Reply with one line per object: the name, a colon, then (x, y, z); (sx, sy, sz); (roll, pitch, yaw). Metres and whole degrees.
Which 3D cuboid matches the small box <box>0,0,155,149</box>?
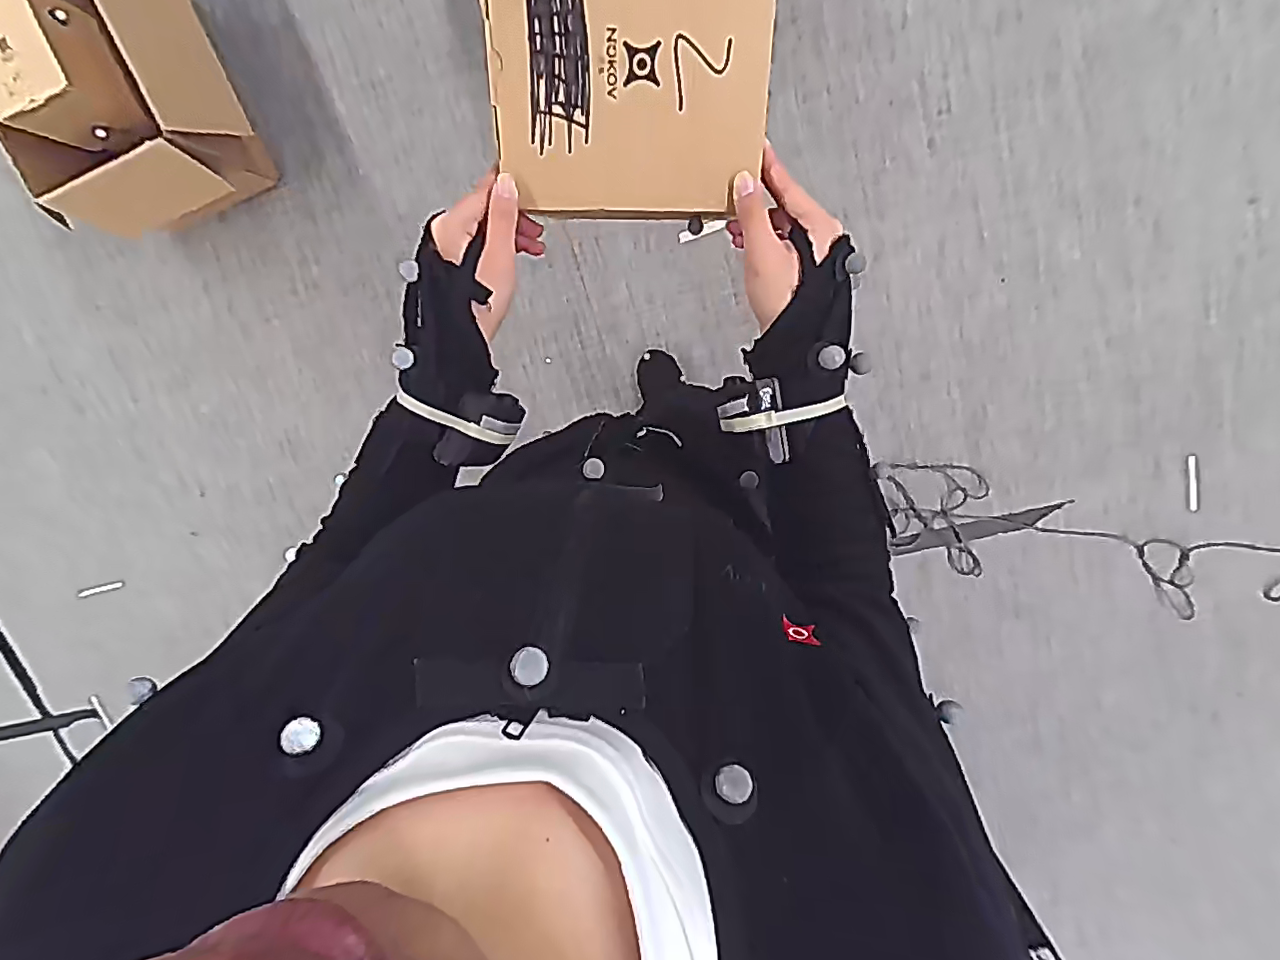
small box: (-1.078, -0.757, 1.003); (0.168, 0.176, 0.179); (-16, 103, 9)
